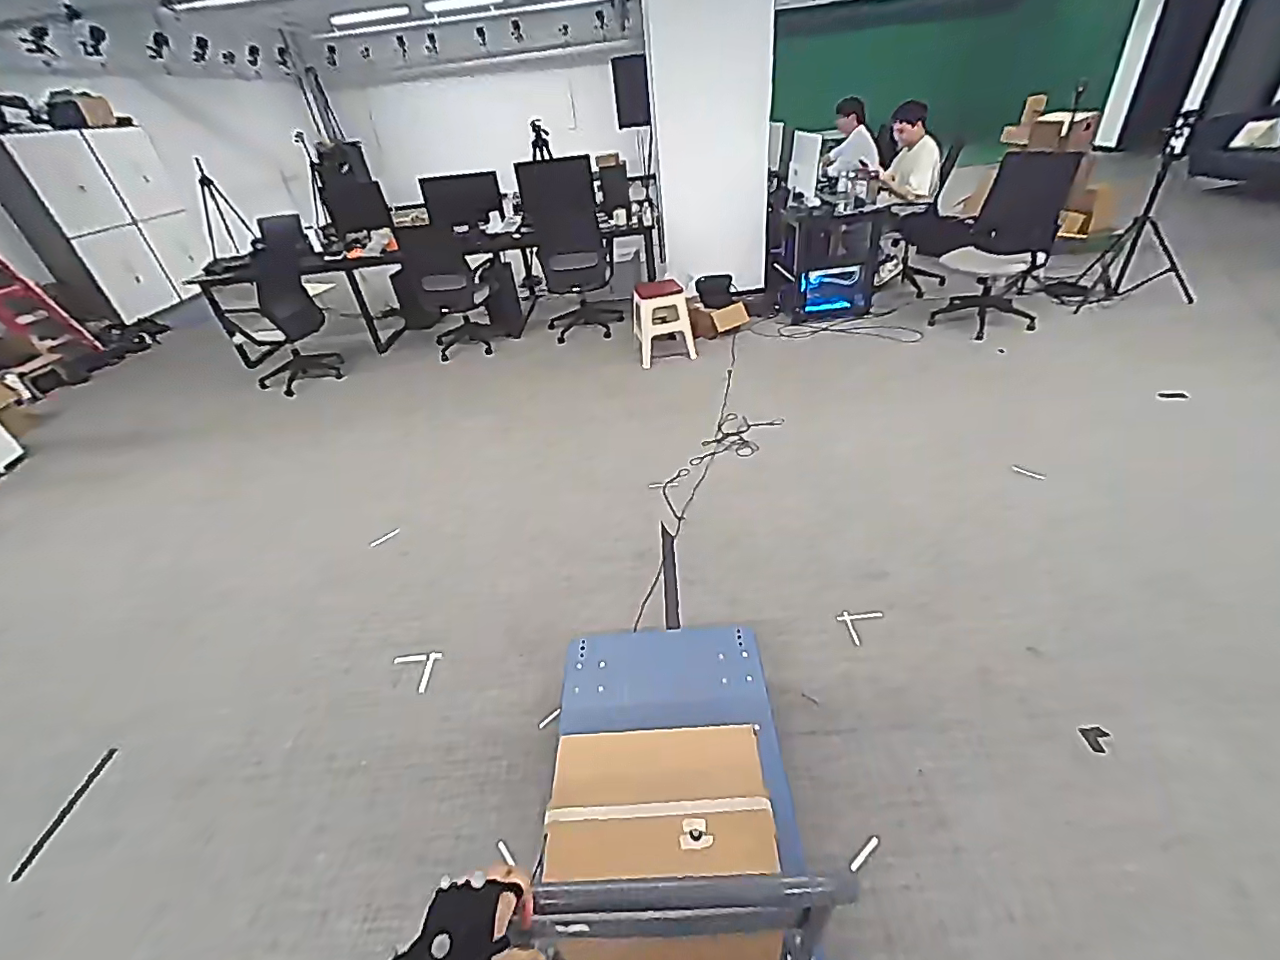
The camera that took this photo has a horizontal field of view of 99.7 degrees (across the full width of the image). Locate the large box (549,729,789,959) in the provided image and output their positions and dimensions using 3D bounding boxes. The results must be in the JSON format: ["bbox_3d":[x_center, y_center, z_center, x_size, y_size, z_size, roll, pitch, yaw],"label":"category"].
[{"bbox_3d":[0.055,0.741,1.082,0.408,0.320,0.320,-5,36,2],"label":"large box"}]
